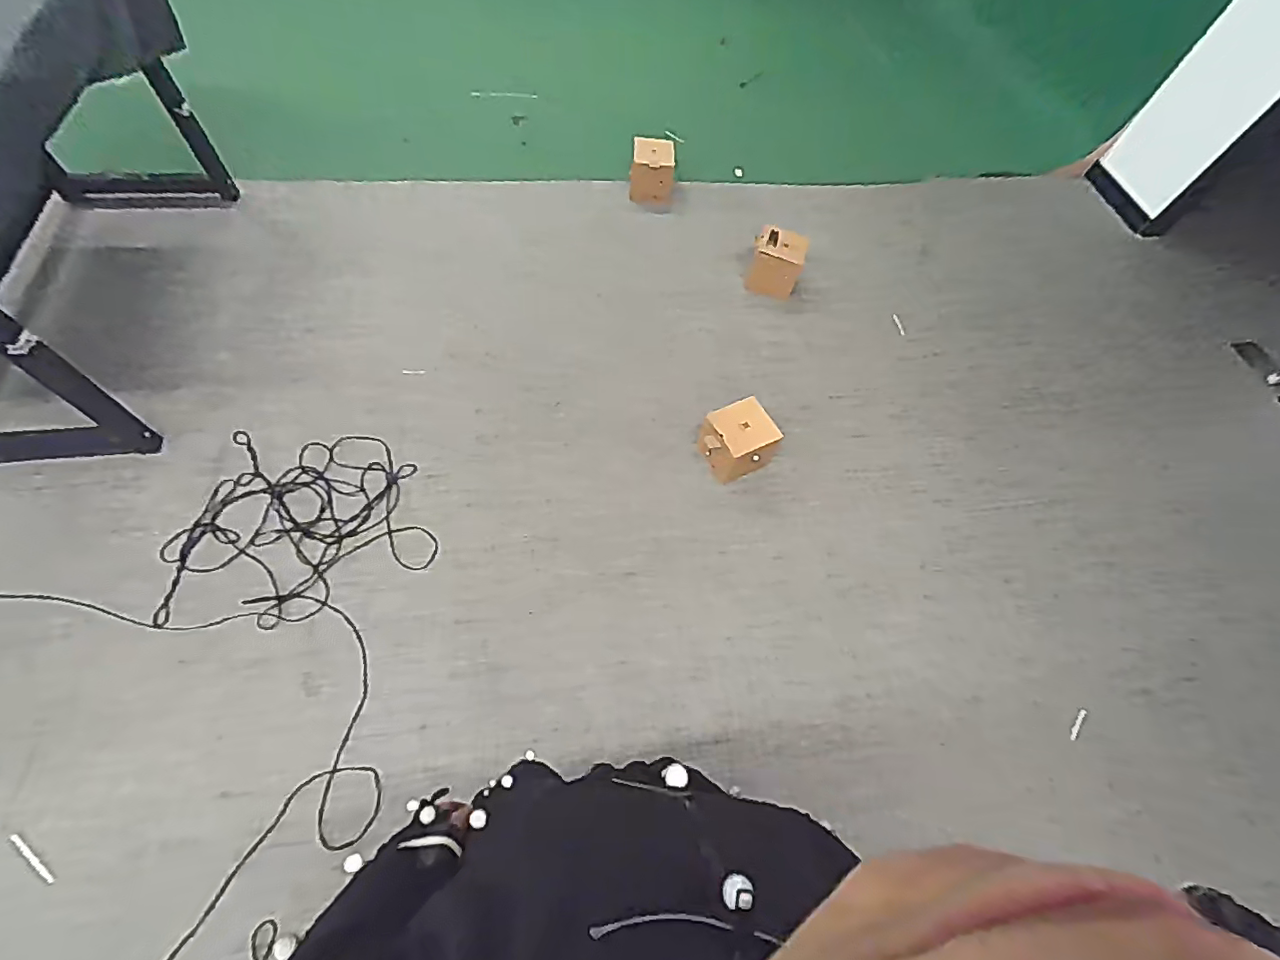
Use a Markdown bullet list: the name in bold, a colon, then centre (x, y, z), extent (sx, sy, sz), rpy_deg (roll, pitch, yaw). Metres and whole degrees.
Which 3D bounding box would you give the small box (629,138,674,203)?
- **small box**: centre (0.047, -1.285, 2.252), extent (0.168, 0.176, 0.179), rpy_deg (3, 61, -6)

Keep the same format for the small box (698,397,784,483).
- **small box**: centre (0.300, -0.118, 1.647), extent (0.179, 0.176, 0.168), rpy_deg (-24, 66, -17)
